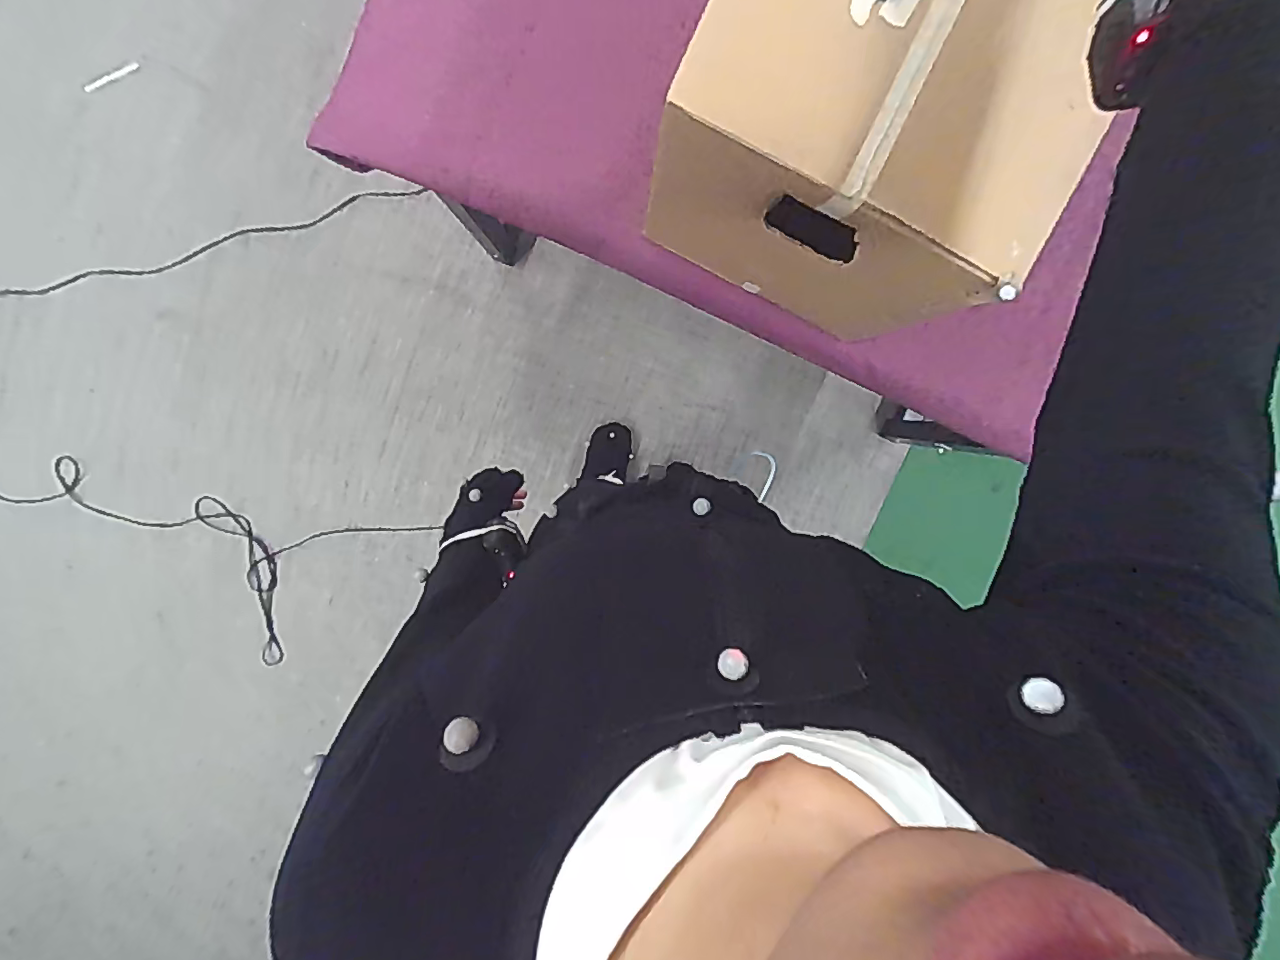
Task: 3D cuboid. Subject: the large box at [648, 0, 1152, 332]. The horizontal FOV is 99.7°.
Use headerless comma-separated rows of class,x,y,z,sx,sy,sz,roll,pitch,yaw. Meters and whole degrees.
large box,0.235,-0.419,0.557,0.320,0.320,0.408,26,96,-5
